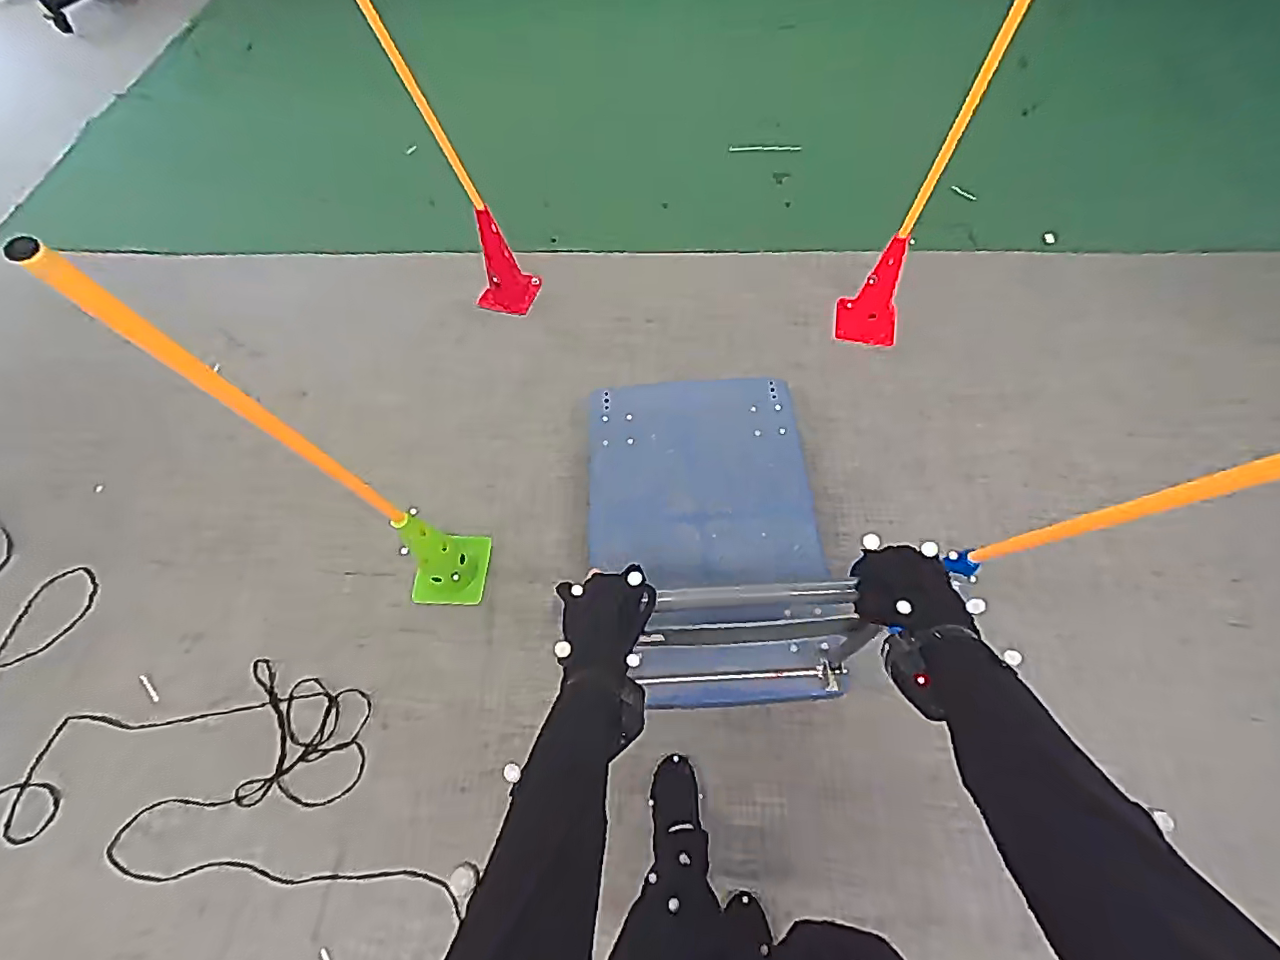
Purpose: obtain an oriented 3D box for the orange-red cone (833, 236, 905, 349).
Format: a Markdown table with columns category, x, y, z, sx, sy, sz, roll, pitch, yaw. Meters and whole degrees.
| category | x | y | z | sx | sy | sz | roll | pitch | yaw |
| --- | --- | --- | --- | --- | --- | --- | --- | --- | --- |
| orange-red cone | 0.769 | -0.619 | 1.735 | 0.198 | 0.360 | 0.199 | 11 | 64 | 10 |
